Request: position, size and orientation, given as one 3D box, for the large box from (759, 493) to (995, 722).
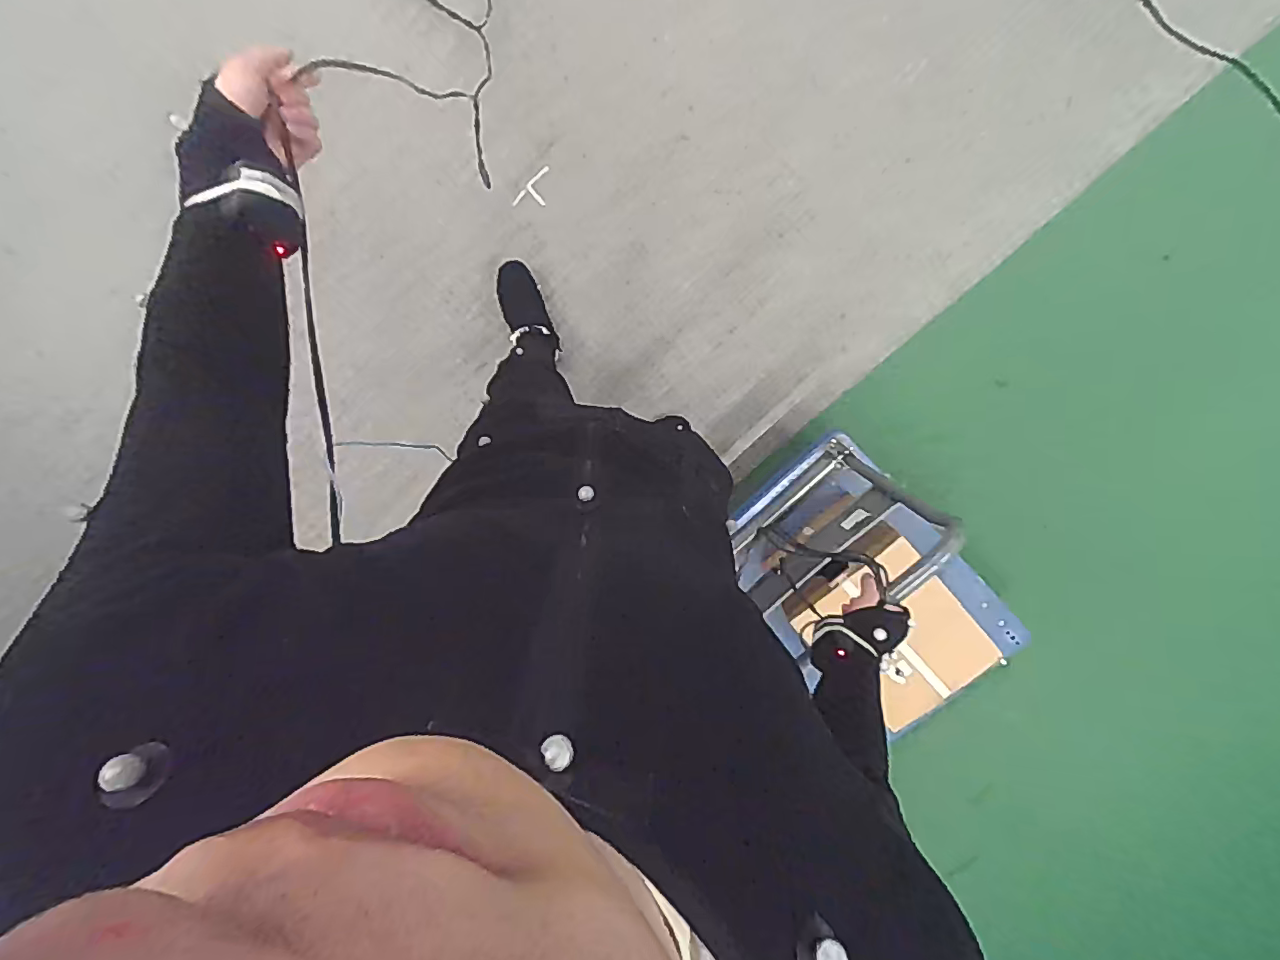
[{"bbox_3d":[0.572,0.305,1.373,0.320,0.320,0.408,-41,103,11],"label":"large box"}]
